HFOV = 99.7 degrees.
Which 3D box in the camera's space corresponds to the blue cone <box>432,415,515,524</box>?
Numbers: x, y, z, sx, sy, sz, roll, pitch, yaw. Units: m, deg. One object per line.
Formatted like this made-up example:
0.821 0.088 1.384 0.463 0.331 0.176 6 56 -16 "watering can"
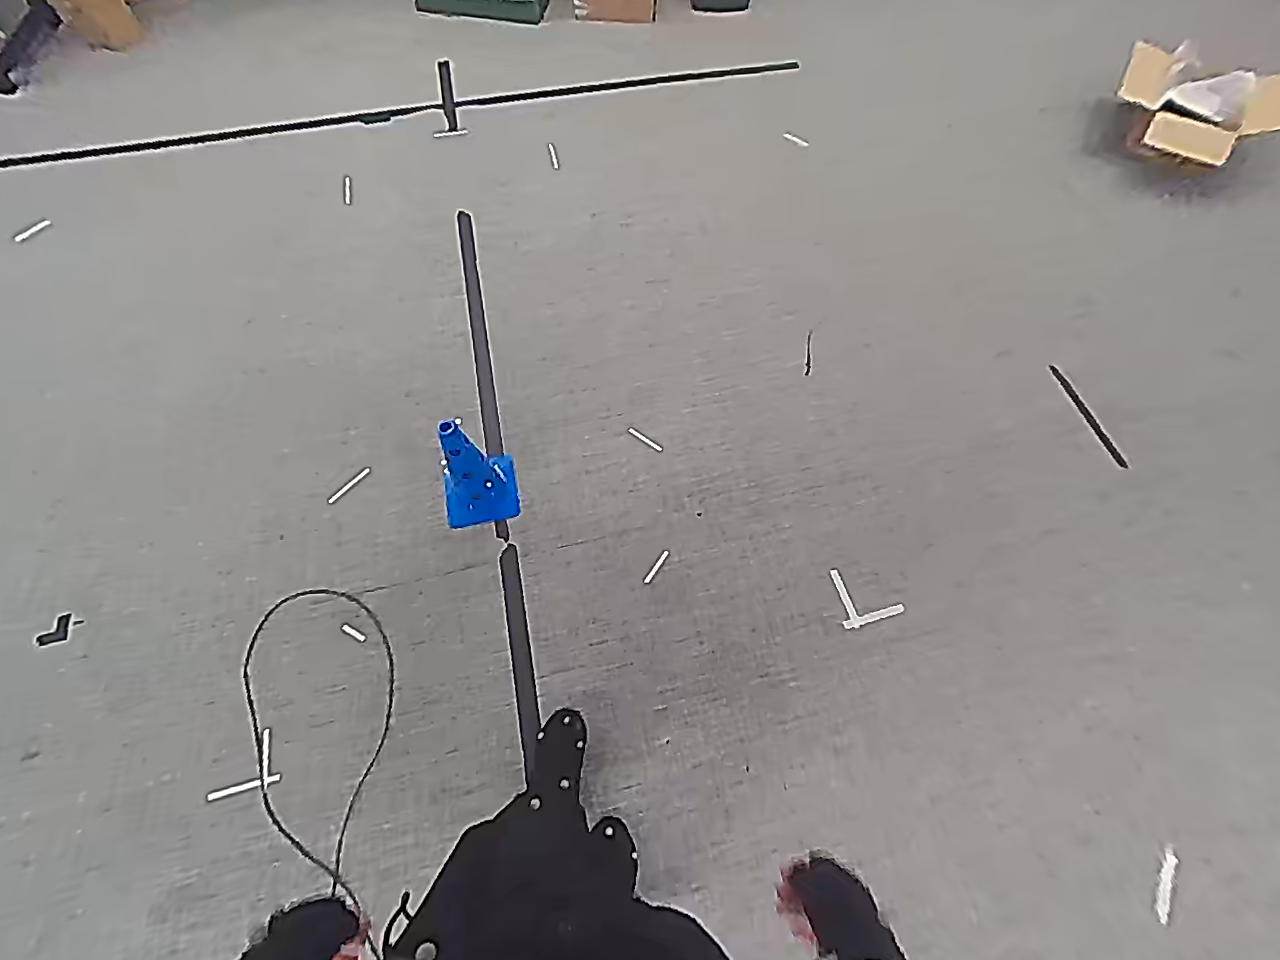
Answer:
-0.447 -0.043 1.368 0.193 0.380 0.192 -13 66 -7 "blue cone"
